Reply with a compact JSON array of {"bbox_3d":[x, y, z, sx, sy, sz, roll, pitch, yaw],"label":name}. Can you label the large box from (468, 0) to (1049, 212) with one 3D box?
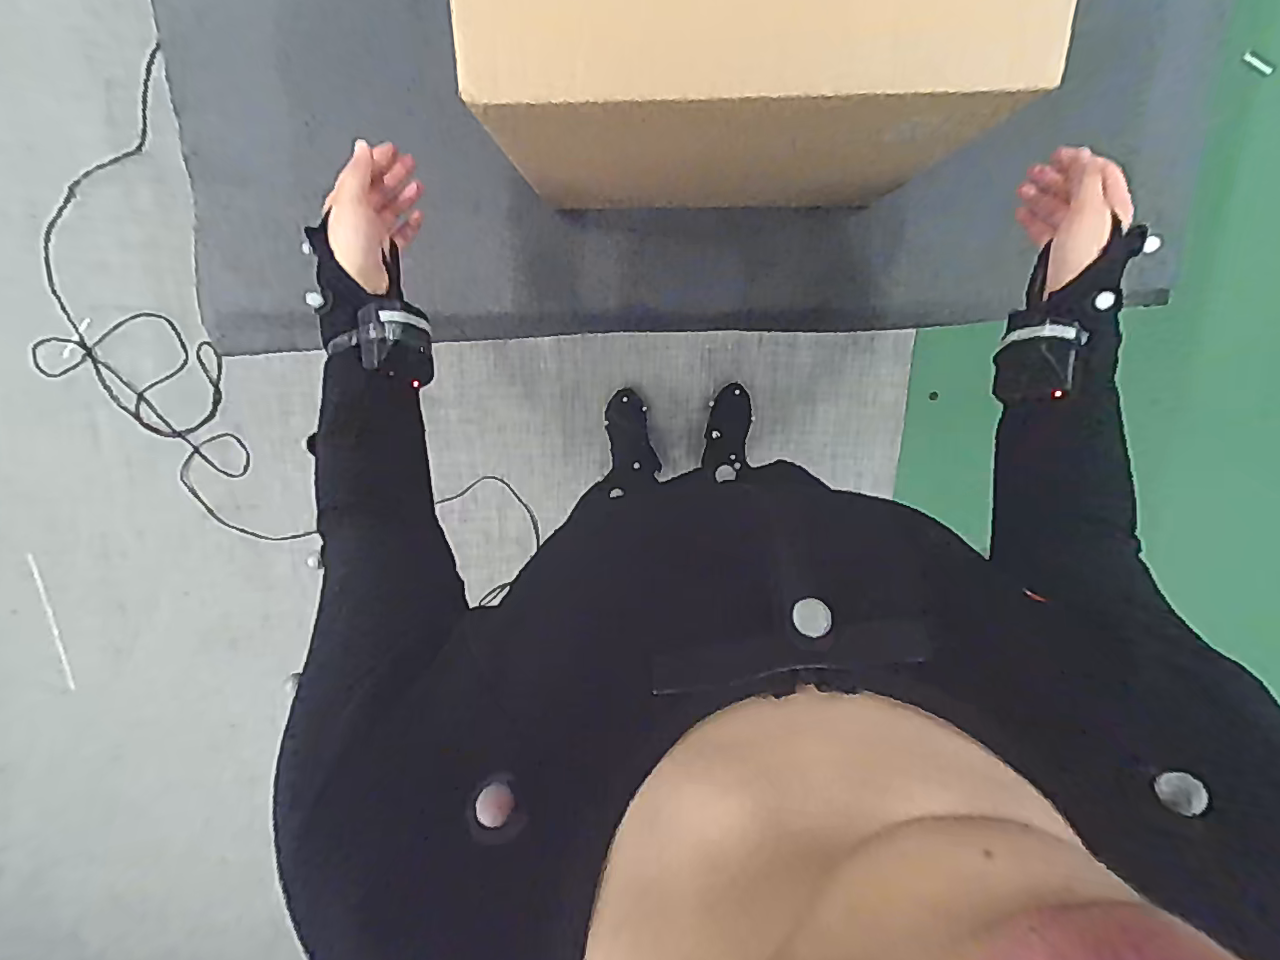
[{"bbox_3d":[0.077,-0.451,0.489,0.408,0.320,0.320,-1,105,1],"label":"large box"}]
